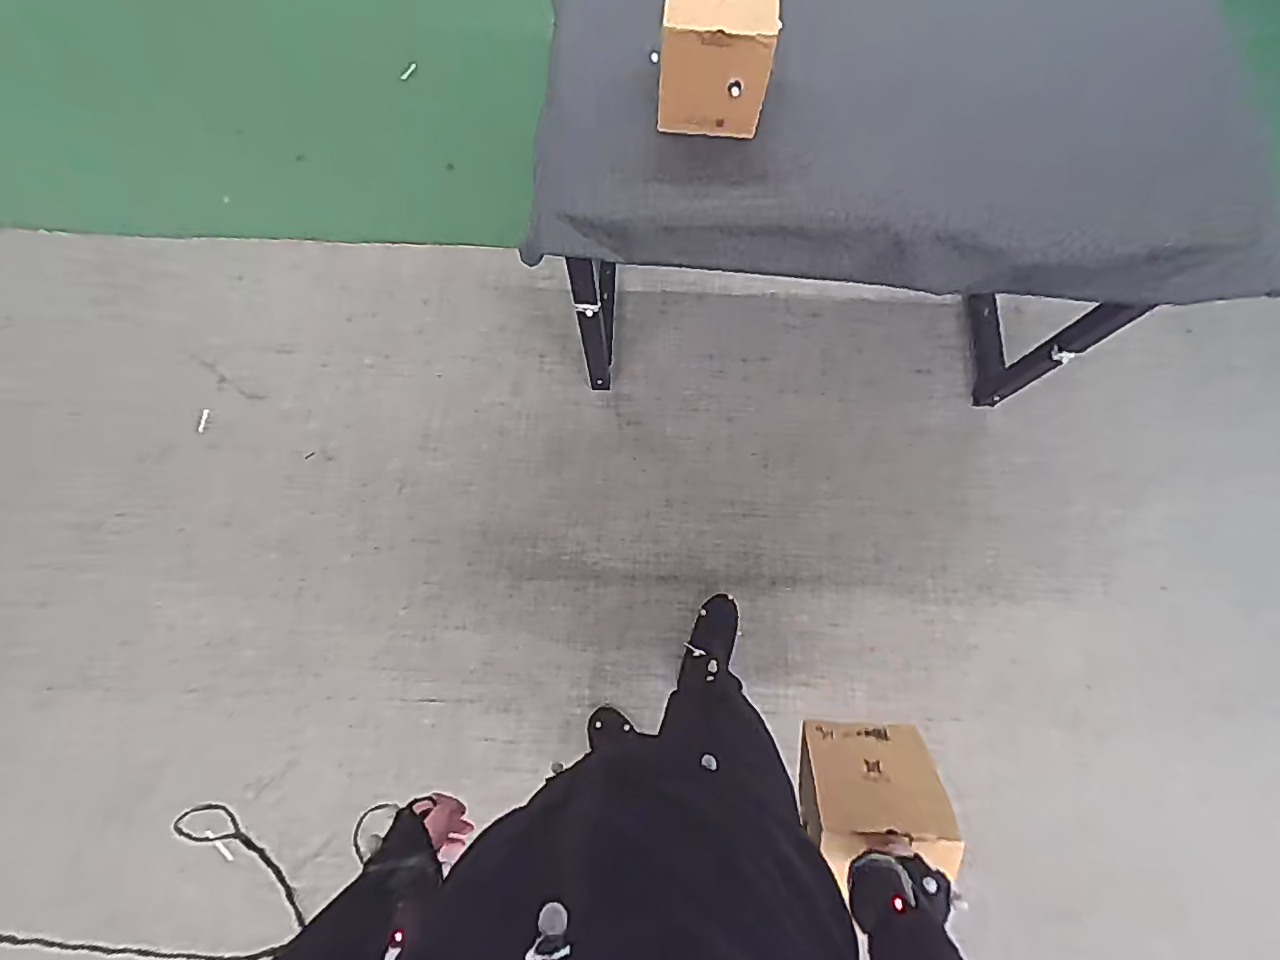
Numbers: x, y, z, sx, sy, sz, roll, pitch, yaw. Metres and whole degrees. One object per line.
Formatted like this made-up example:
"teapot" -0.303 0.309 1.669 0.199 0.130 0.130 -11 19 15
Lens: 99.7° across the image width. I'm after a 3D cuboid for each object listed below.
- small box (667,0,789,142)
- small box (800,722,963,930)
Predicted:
"small box" 0.135 -0.684 0.872 0.168 0.176 0.179 6 74 -1
"small box" 0.320 0.475 0.754 0.168 0.179 0.176 2 112 10
